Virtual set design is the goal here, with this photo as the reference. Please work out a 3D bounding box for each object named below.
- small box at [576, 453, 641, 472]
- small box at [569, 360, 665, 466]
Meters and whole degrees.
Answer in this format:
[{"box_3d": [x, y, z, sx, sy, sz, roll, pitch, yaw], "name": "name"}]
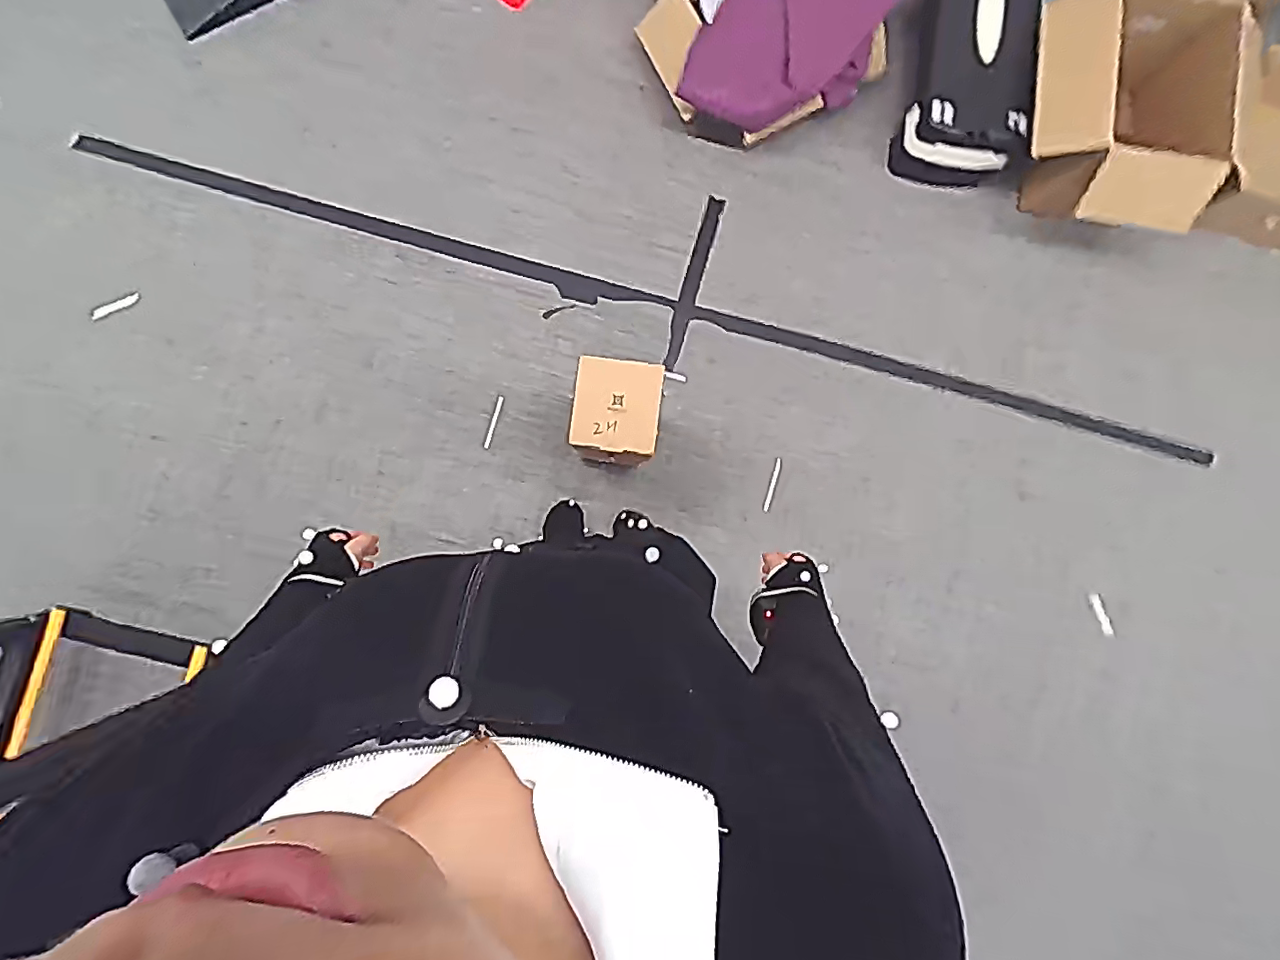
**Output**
[{"box_3d": [-0.068, -0.121, 1.434, 0.168, 0.176, 0.179, 9, 88, -1], "name": "small box"}, {"box_3d": [-0.046, -0.130, 1.105, 0.168, 0.176, 0.179, 8, 88, -1], "name": "small box"}]
